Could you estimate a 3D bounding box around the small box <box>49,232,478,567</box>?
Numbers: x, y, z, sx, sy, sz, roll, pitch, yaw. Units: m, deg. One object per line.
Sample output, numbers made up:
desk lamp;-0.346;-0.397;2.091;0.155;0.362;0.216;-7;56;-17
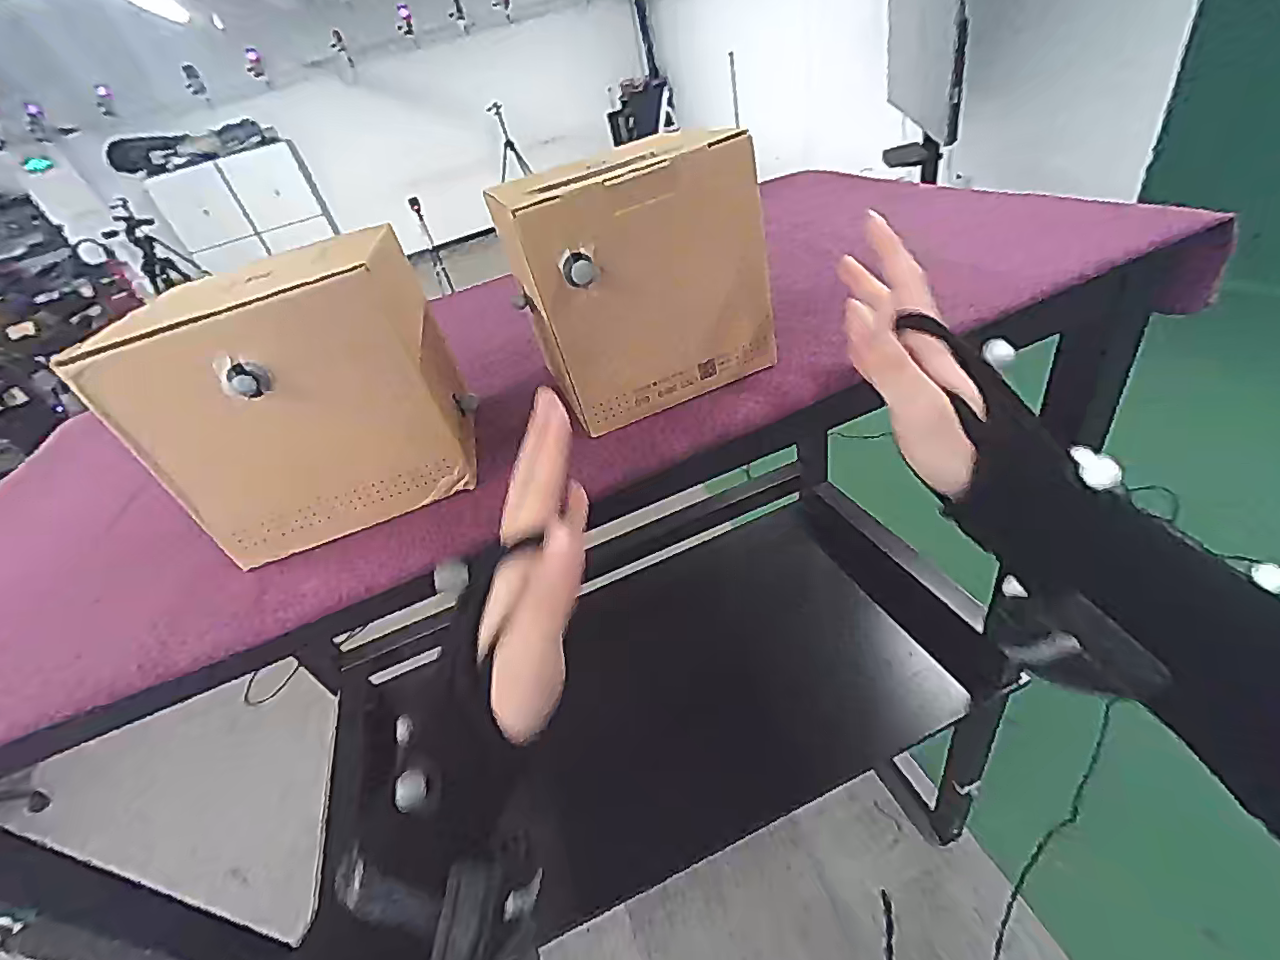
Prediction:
small box;-0.240;-0.064;0.407;0.179;0.176;0.168;-20;36;-6
